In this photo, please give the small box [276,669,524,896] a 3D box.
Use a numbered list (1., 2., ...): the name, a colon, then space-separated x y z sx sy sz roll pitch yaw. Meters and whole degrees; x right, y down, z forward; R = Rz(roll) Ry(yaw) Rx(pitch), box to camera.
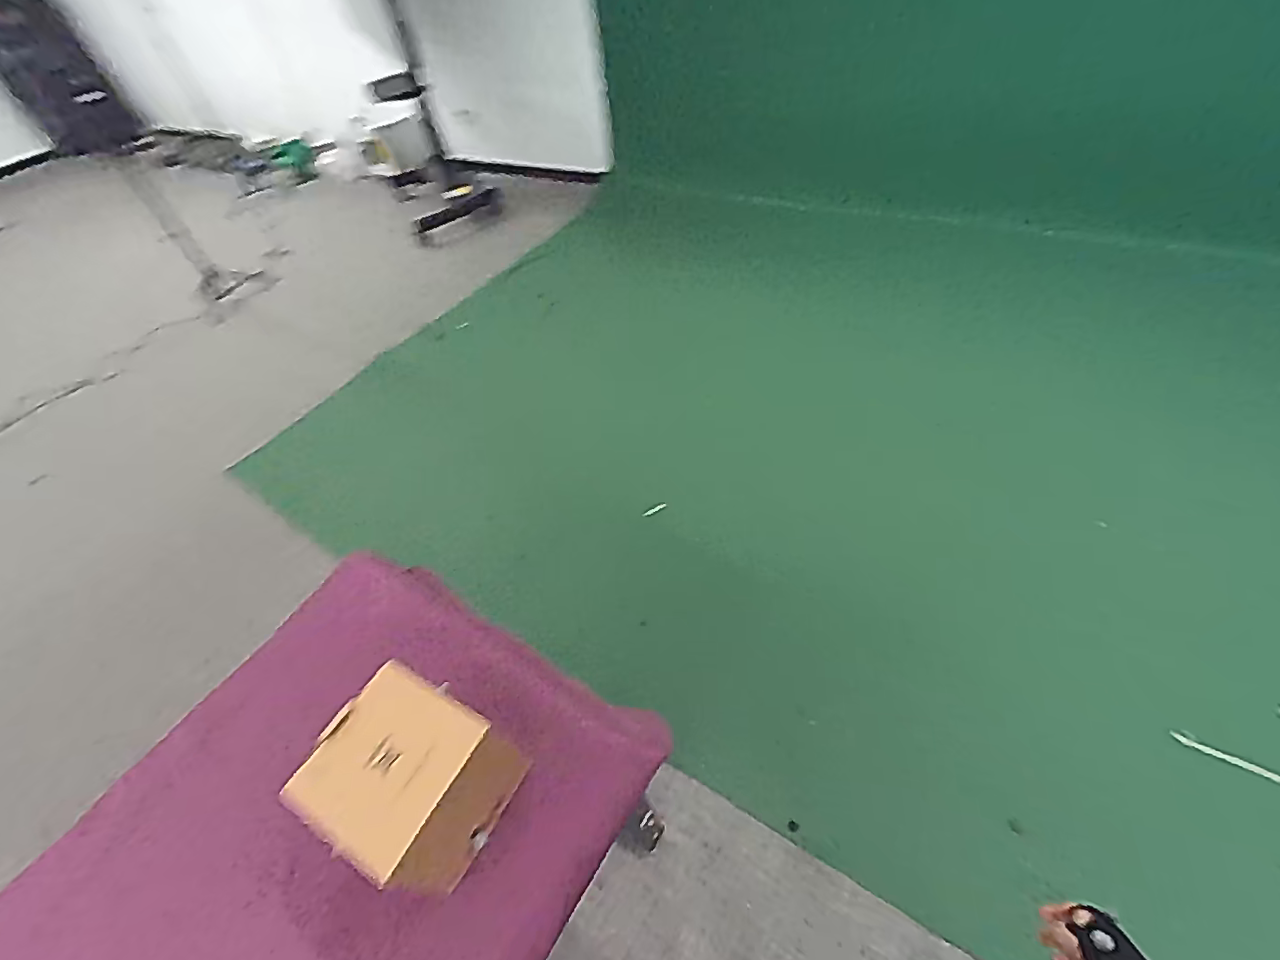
1. small box: -0.273 0.365 0.651 0.179 0.176 0.168 18 56 25
